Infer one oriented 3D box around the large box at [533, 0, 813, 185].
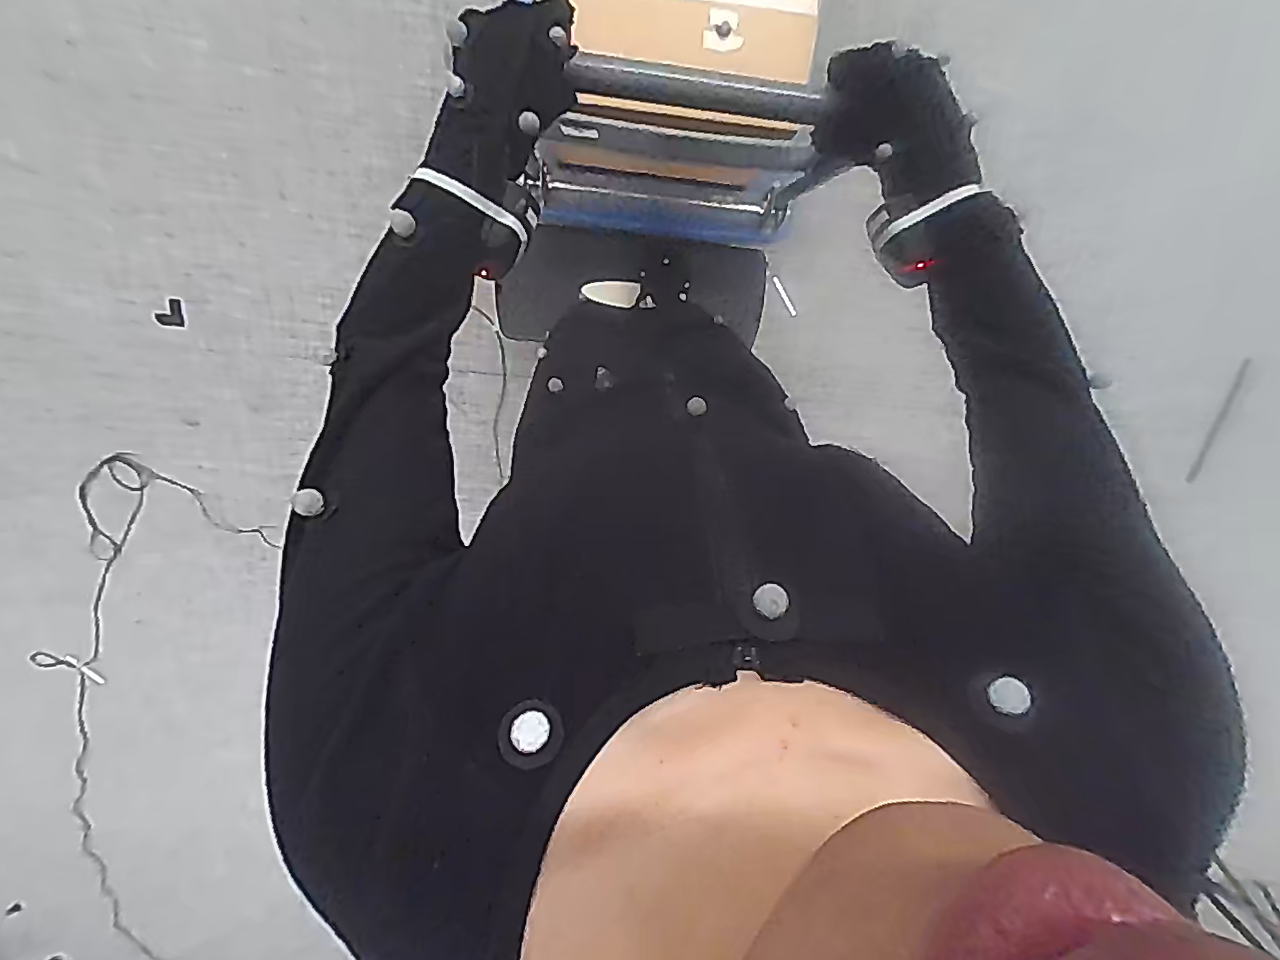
[{"bbox_3d":[0.038,-0.721,0.908,0.408,0.320,0.320,4,105,-6],"label":"large box"}]
